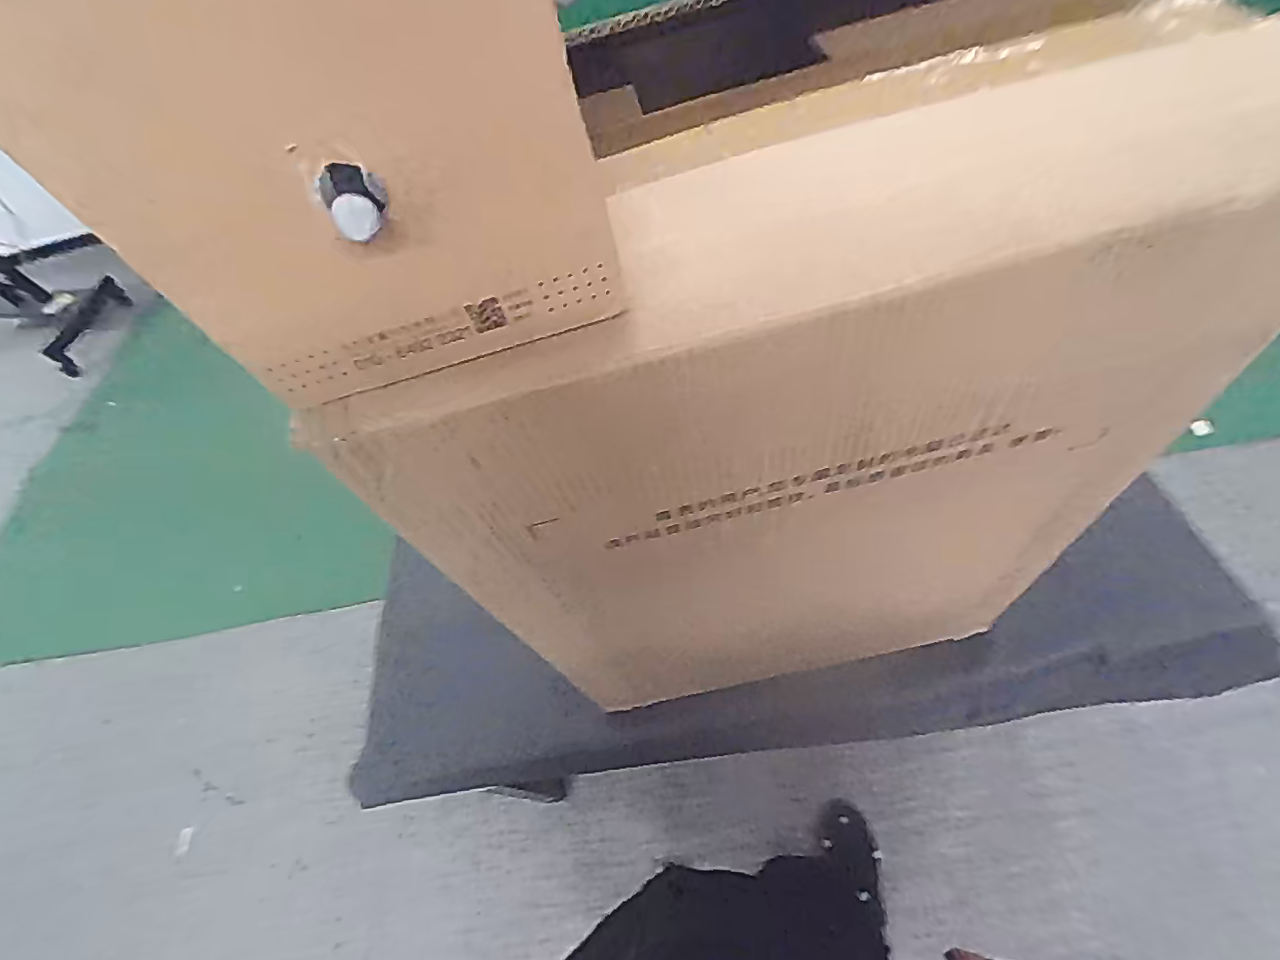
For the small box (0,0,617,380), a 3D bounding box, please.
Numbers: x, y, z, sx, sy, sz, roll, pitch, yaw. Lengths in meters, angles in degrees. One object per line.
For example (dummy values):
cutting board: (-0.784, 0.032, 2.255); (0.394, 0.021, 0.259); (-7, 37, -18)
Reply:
small box: (-0.116, -0.163, 0.228); (0.168, 0.176, 0.179); (-16, 56, 3)
